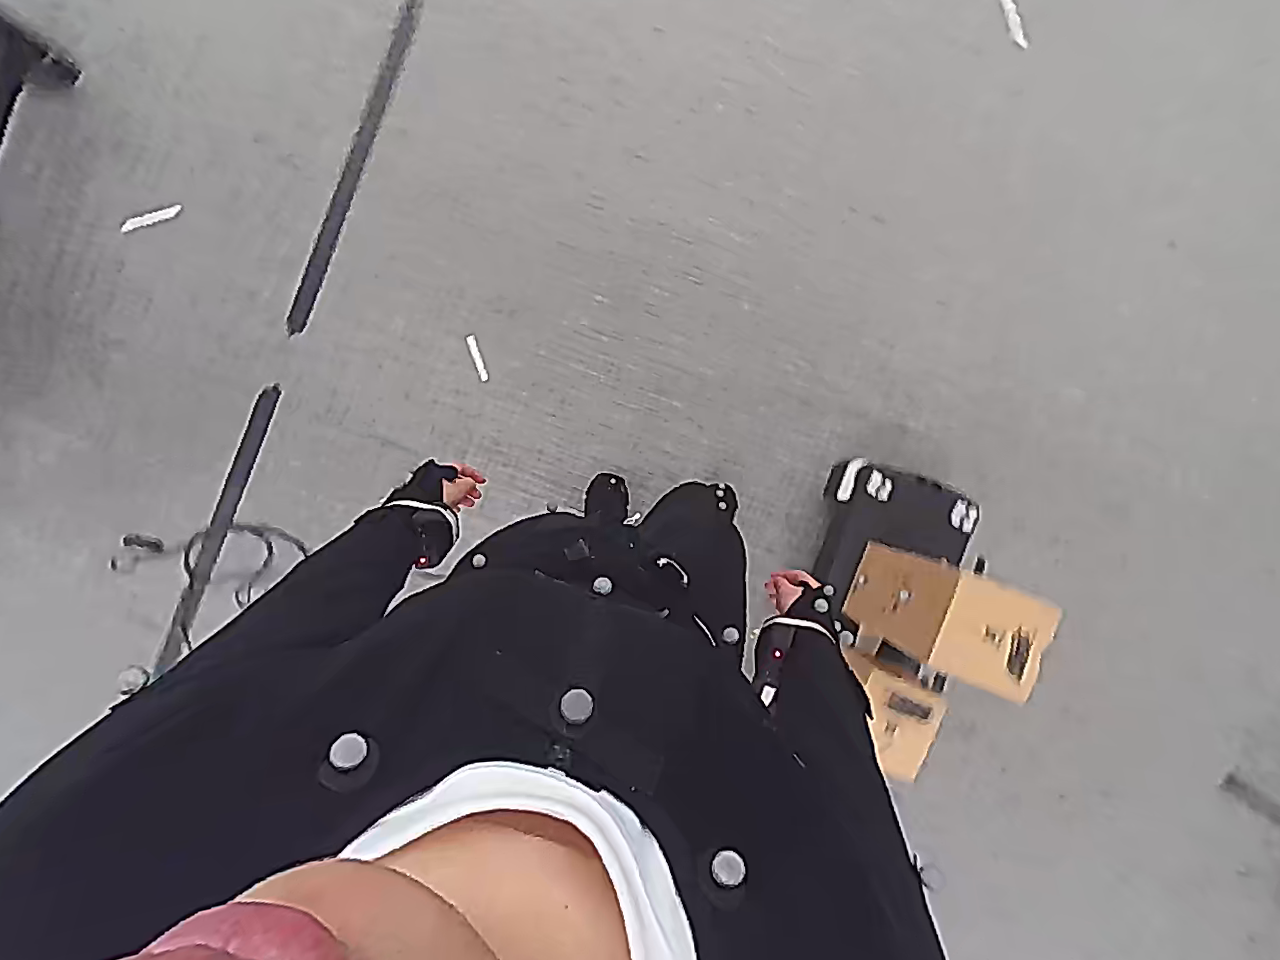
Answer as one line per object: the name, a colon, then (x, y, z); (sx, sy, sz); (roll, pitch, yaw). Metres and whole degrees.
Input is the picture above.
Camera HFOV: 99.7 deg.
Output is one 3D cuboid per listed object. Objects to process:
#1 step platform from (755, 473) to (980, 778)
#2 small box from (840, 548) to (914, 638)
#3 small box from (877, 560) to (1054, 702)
step platform: (0.531, 0.331, 1.288); (0.286, 0.204, 0.684); (21, 90, -2)
small box: (0.549, 0.250, 1.114); (0.179, 0.176, 0.168); (22, 90, -2)
small box: (0.558, 0.252, 0.949); (0.179, 0.176, 0.168); (22, 90, -2)
